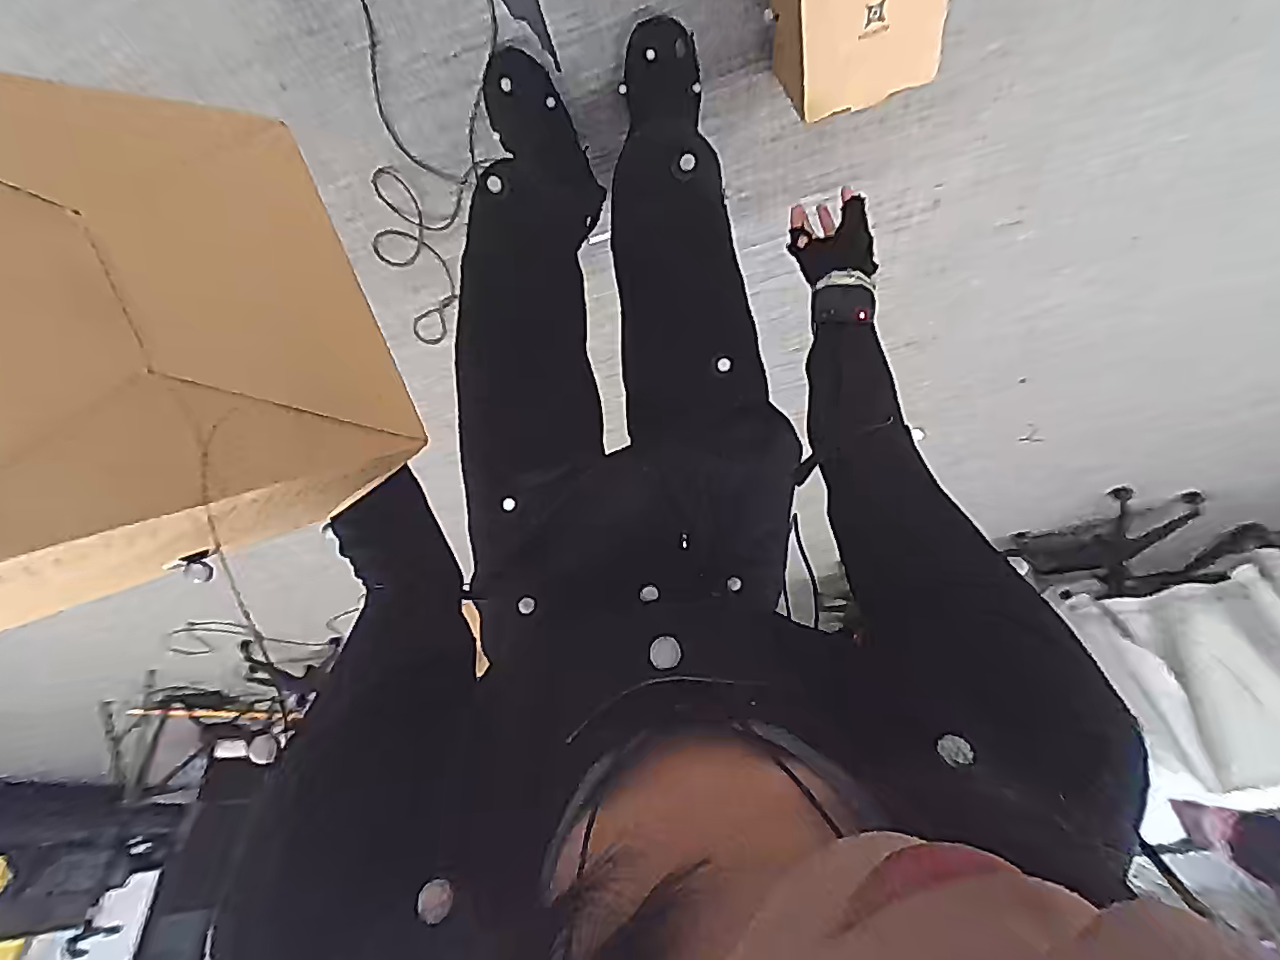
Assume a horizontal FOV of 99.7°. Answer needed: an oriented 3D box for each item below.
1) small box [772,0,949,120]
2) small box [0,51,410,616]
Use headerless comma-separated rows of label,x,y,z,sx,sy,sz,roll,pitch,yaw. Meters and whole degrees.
small box,0.261,-0.595,0.662,0.168,0.176,0.179,-14,146,11
small box,-0.236,-0.053,0.242,0.176,0.168,0.179,-23,-179,43
